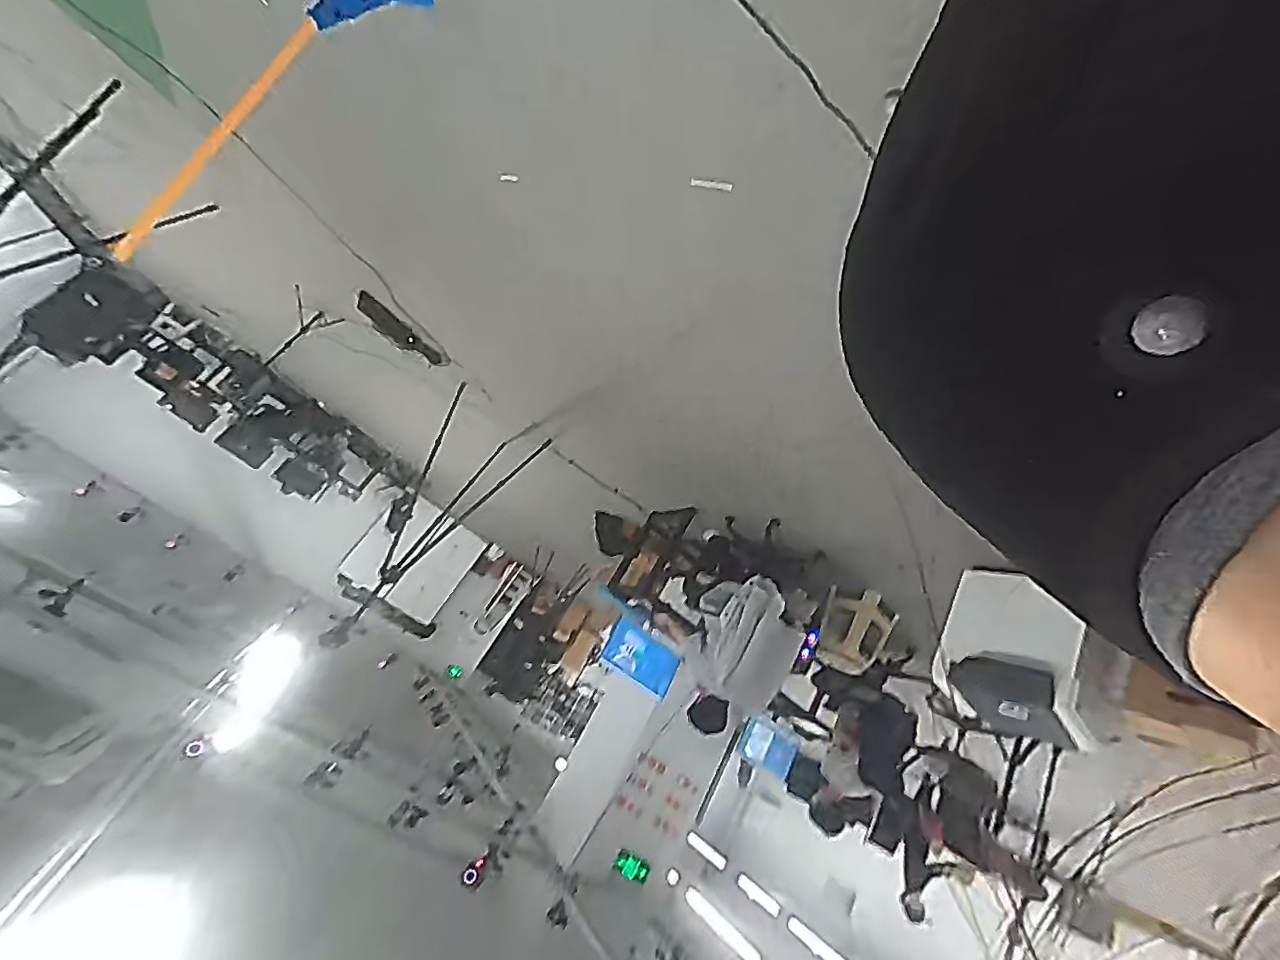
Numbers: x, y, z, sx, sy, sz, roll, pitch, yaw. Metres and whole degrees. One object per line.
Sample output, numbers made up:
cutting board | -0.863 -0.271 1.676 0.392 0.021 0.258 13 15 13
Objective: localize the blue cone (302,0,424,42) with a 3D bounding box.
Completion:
blue cone | -0.819 -1.375 1.549 0.192 0.380 0.193 22 159 21
